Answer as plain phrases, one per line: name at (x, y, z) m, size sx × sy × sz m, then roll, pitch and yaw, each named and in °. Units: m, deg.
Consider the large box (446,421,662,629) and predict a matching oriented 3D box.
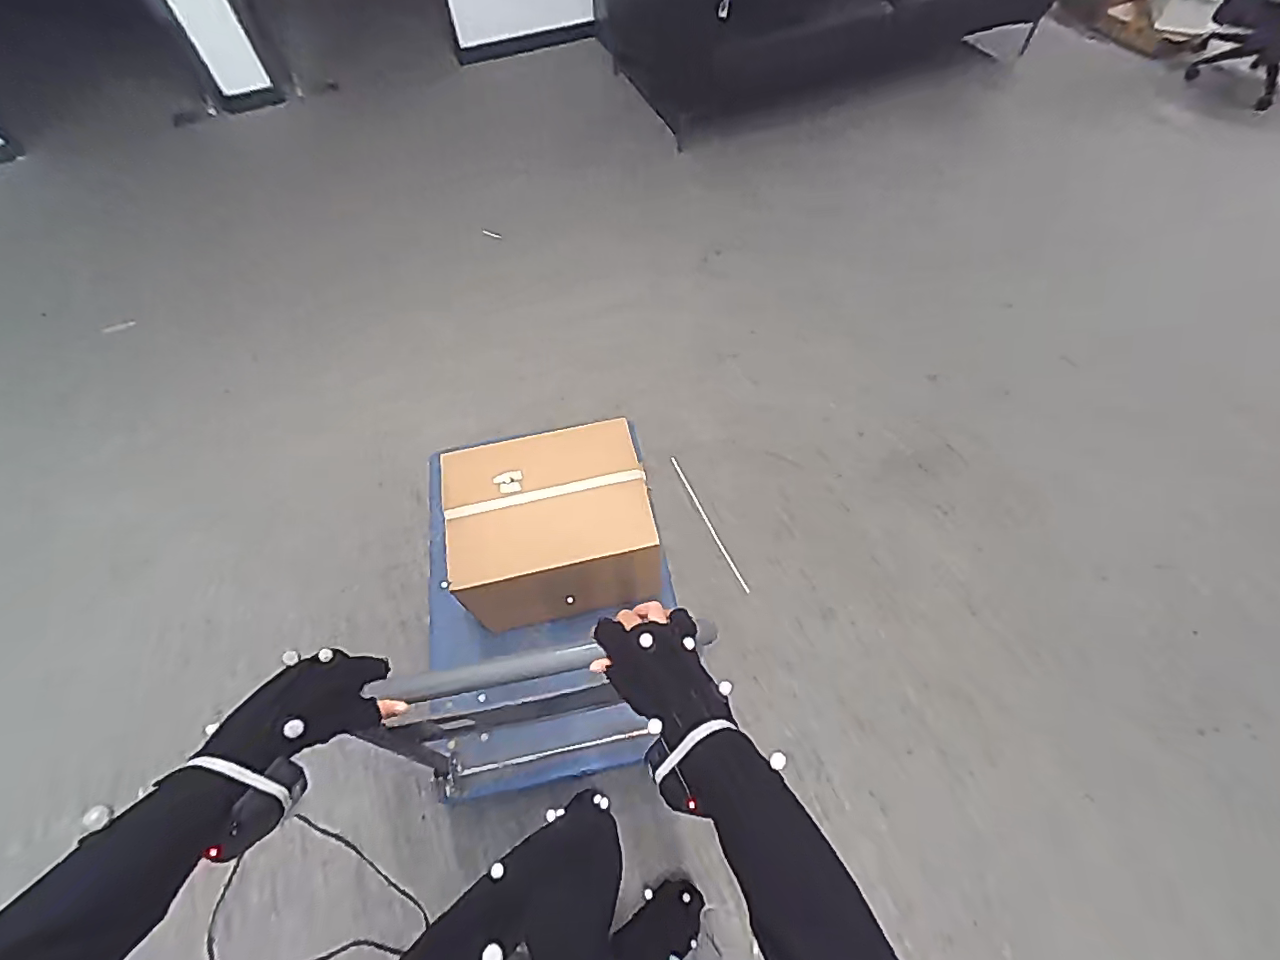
large box at (-0.181, 0.112, 1.233) m, size 0.408 × 0.320 × 0.320 m, roll -13°, pitch 60°, yaw -4°
